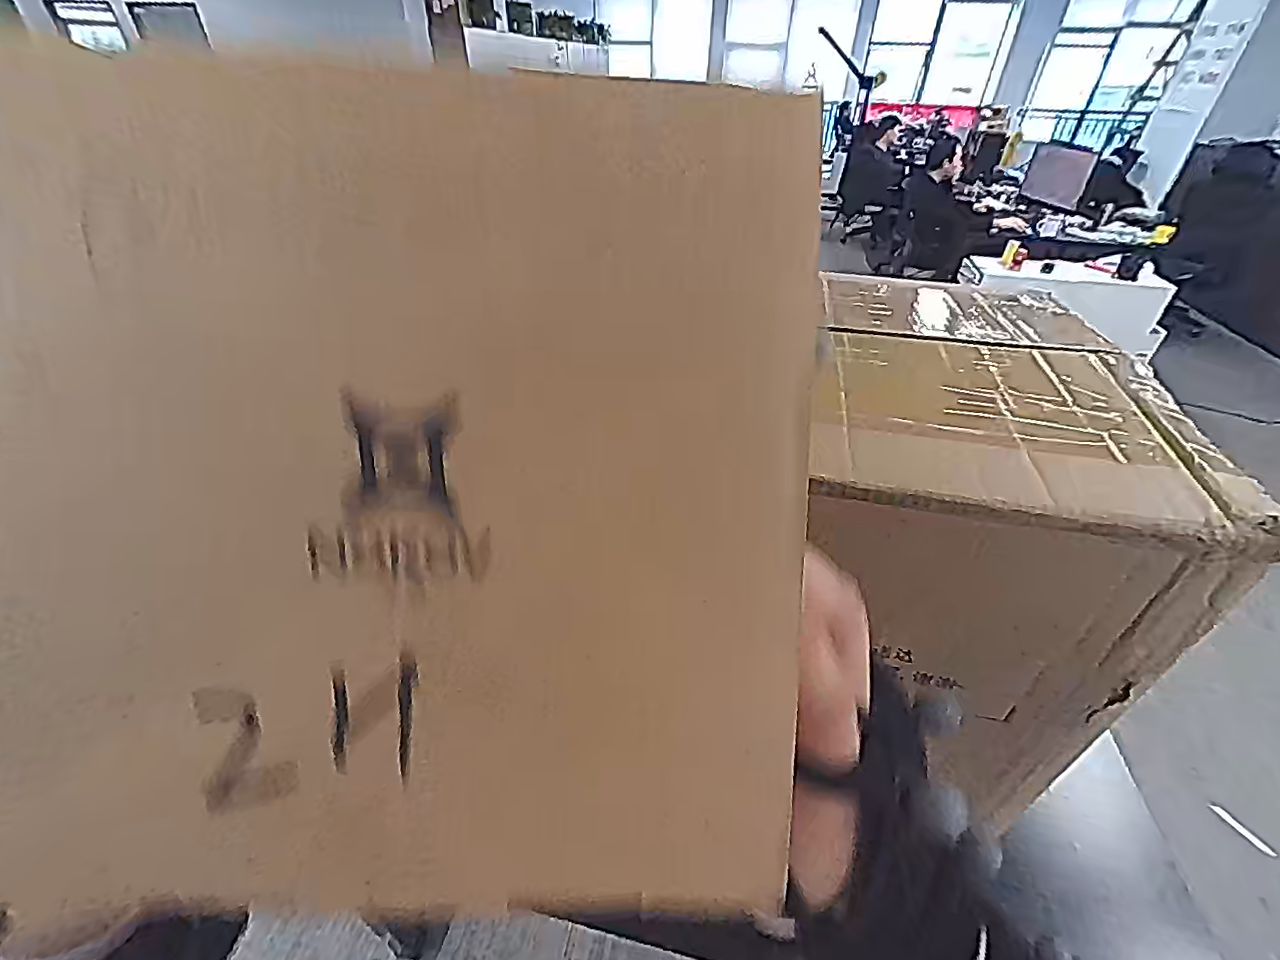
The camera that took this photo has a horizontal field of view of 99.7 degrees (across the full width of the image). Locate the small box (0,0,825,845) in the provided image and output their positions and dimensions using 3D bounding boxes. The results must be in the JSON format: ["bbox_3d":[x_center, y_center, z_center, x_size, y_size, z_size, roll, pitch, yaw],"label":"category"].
[{"bbox_3d":[-0.052,-0.015,0.189,0.168,0.179,0.176,2,6,-3],"label":"small box"}]
